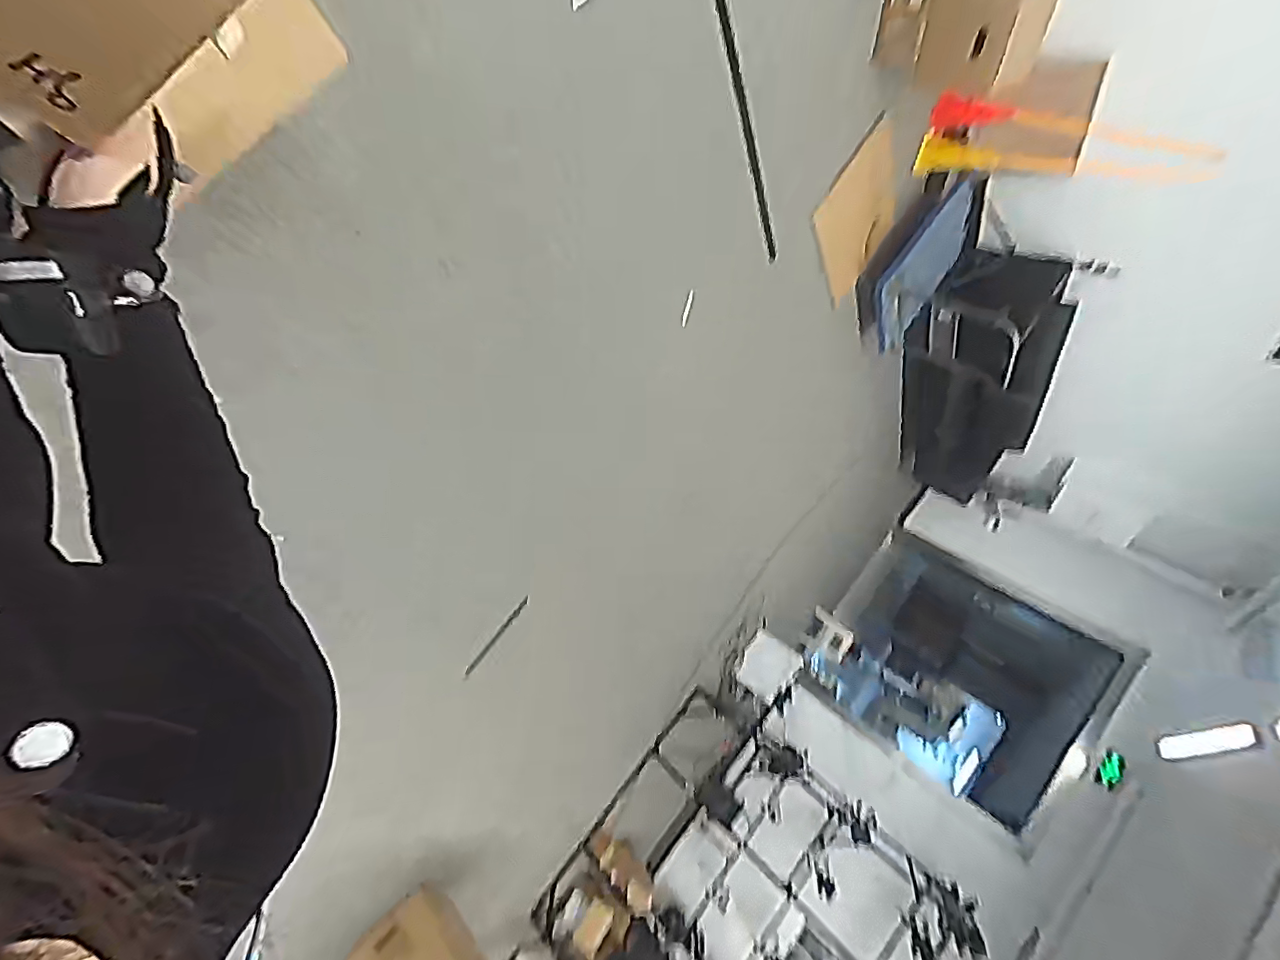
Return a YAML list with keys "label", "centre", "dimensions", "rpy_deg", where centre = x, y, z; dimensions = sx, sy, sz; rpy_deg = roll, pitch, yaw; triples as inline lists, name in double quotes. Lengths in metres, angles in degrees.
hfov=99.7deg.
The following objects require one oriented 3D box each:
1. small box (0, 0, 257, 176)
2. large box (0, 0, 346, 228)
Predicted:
- label: "small box"
  centre: [-0.606, -0.491, 0.630]
  dimensions: [0.179, 0.176, 0.168]
  rpy_deg: [-48, 142, -13]
- label: "large box"
  centre: [-0.739, -0.646, 0.779]
  dimensions: [0.408, 0.320, 0.320]
  rpy_deg: [-51, 145, -11]
